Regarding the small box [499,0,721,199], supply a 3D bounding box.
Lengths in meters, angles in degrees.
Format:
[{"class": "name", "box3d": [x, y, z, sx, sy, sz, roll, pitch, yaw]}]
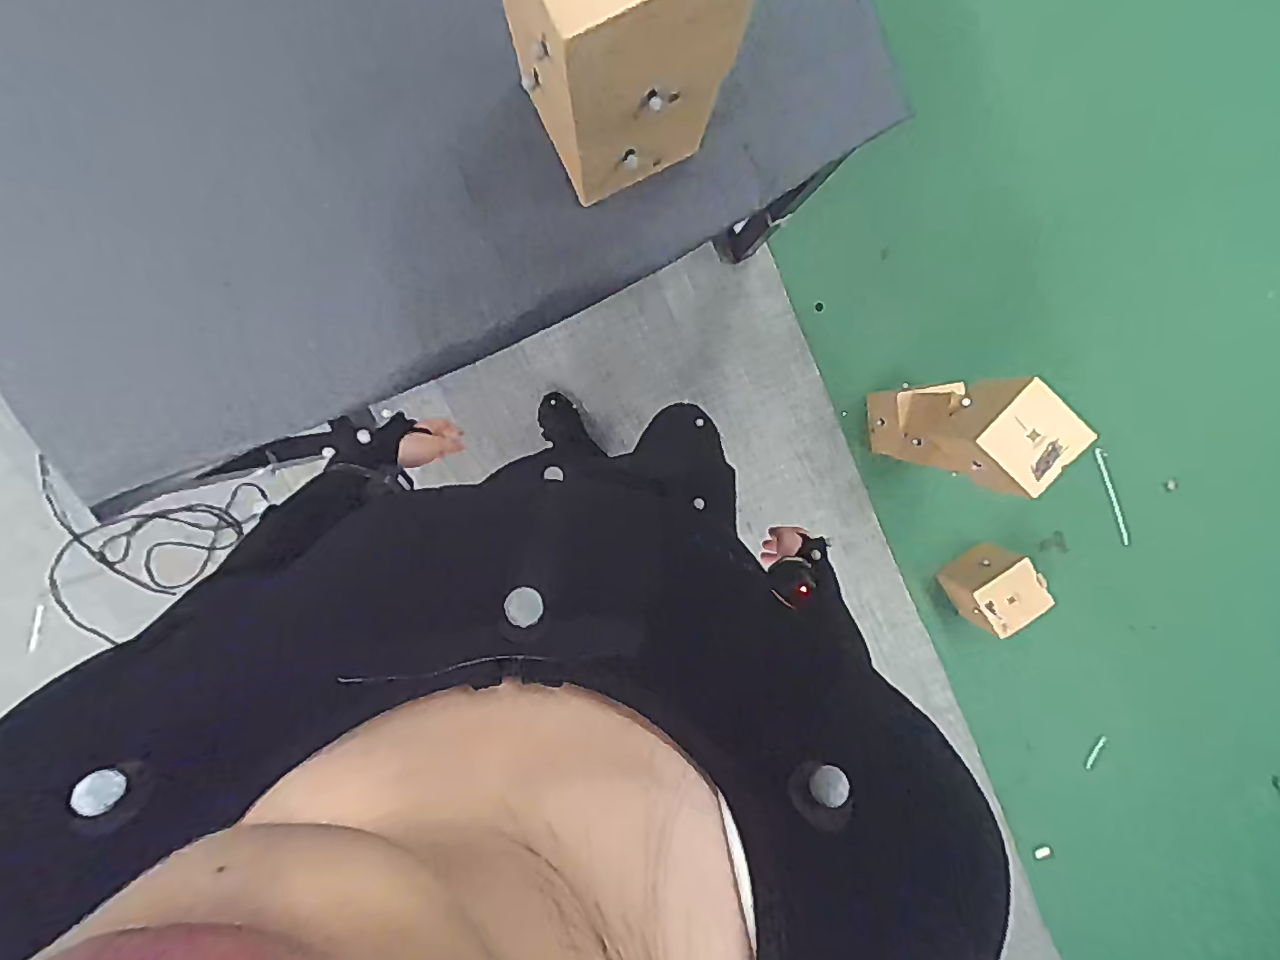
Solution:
[{"class": "small box", "box3d": [-0.030, -0.441, 0.596, 0.168, 0.176, 0.179, -26, 98, 1]}]

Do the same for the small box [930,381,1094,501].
[{"class": "small box", "box3d": [0.745, -0.087, 1.103, 0.179, 0.176, 0.168, 41, 96, -7]}]

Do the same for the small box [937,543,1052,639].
[{"class": "small box", "box3d": [0.980, 0.301, 1.507, 0.179, 0.176, 0.168, -35, 100, 2]}]

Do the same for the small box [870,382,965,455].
[{"class": "small box", "box3d": [0.722, -0.160, 1.421, 0.179, 0.176, 0.168, -10, 100, -2]}]

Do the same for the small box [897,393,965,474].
[{"class": "small box", "box3d": [0.740, -0.105, 1.266, 0.179, 0.176, 0.168, 11, 100, -5]}]
